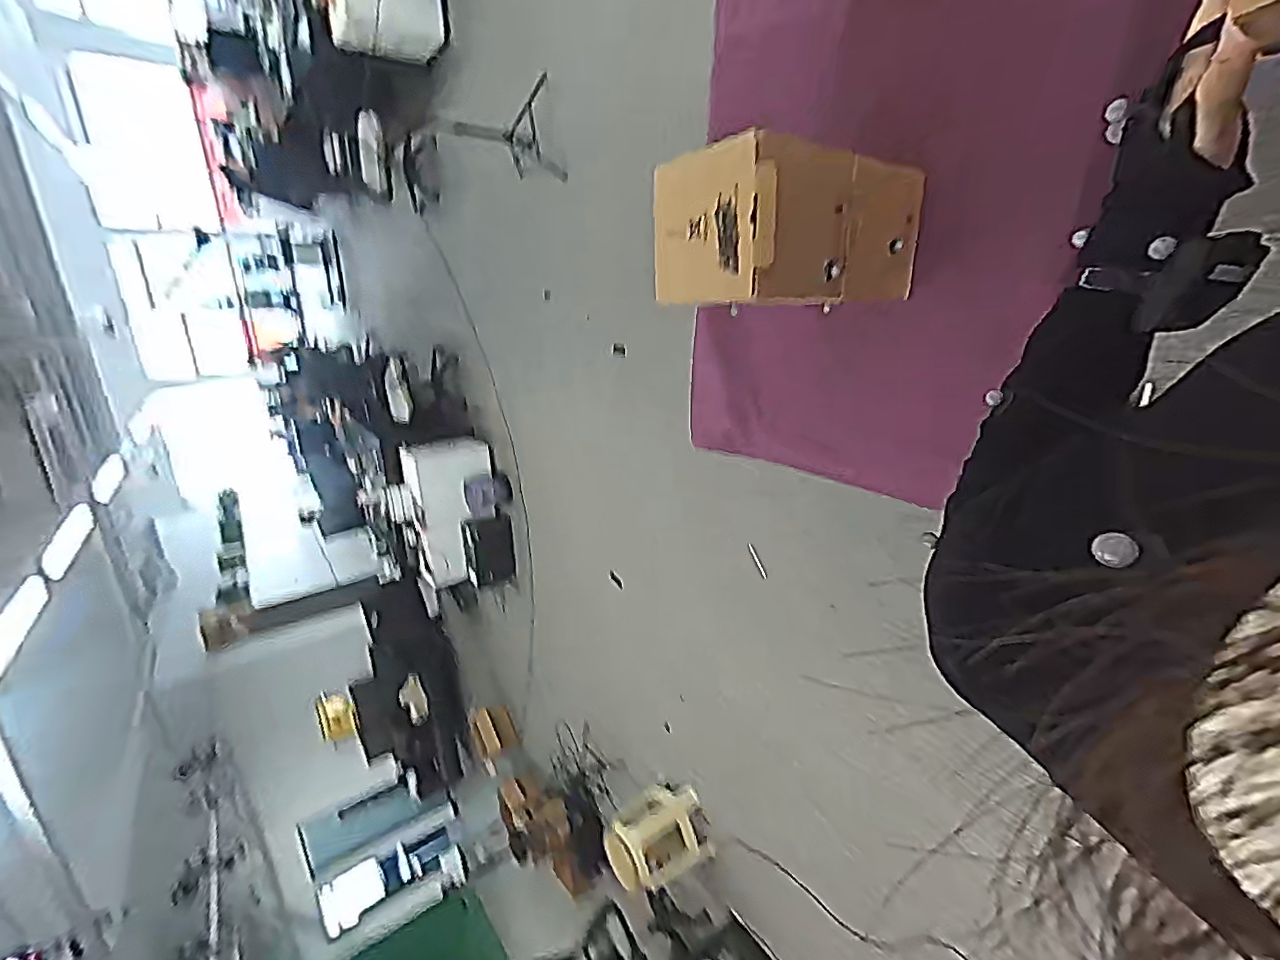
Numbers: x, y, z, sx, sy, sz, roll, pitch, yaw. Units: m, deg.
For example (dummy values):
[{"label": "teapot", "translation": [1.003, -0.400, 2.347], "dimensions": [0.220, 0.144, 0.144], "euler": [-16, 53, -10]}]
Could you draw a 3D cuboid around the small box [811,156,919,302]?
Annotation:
[{"label": "small box", "translation": [0.265, -0.344, 0.777], "dimensions": [0.179, 0.176, 0.168], "euler": [21, 118, 49]}]

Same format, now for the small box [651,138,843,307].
[{"label": "small box", "translation": [0.134, -0.310, 0.685], "dimensions": [0.179, 0.176, 0.168], "euler": [20, 117, 51]}]
